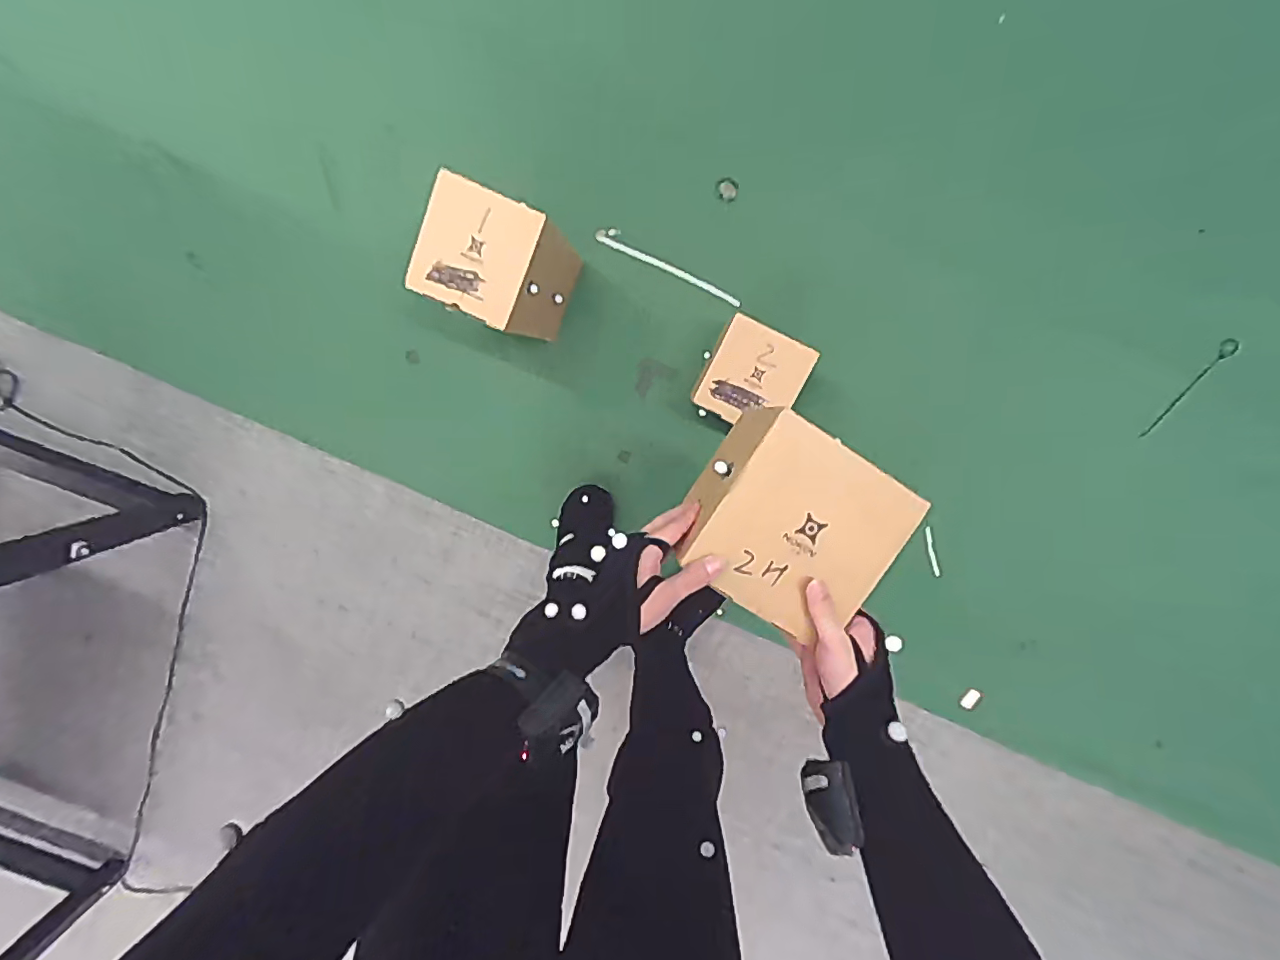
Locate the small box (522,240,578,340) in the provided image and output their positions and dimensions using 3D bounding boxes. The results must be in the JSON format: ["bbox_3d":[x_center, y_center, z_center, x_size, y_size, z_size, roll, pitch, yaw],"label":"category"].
[{"bbox_3d":[-0.226,-0.379,1.021,0.168,0.176,0.179,24,103,-2],"label":"small box"}]

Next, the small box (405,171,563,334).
[{"bbox_3d":[-0.235,-0.344,0.861,0.168,0.176,0.179,24,102,-2],"label":"small box"}]

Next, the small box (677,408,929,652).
[{"bbox_3d":[0.151,0.038,0.574,0.168,0.176,0.179,32,96,-5],"label":"small box"}]
